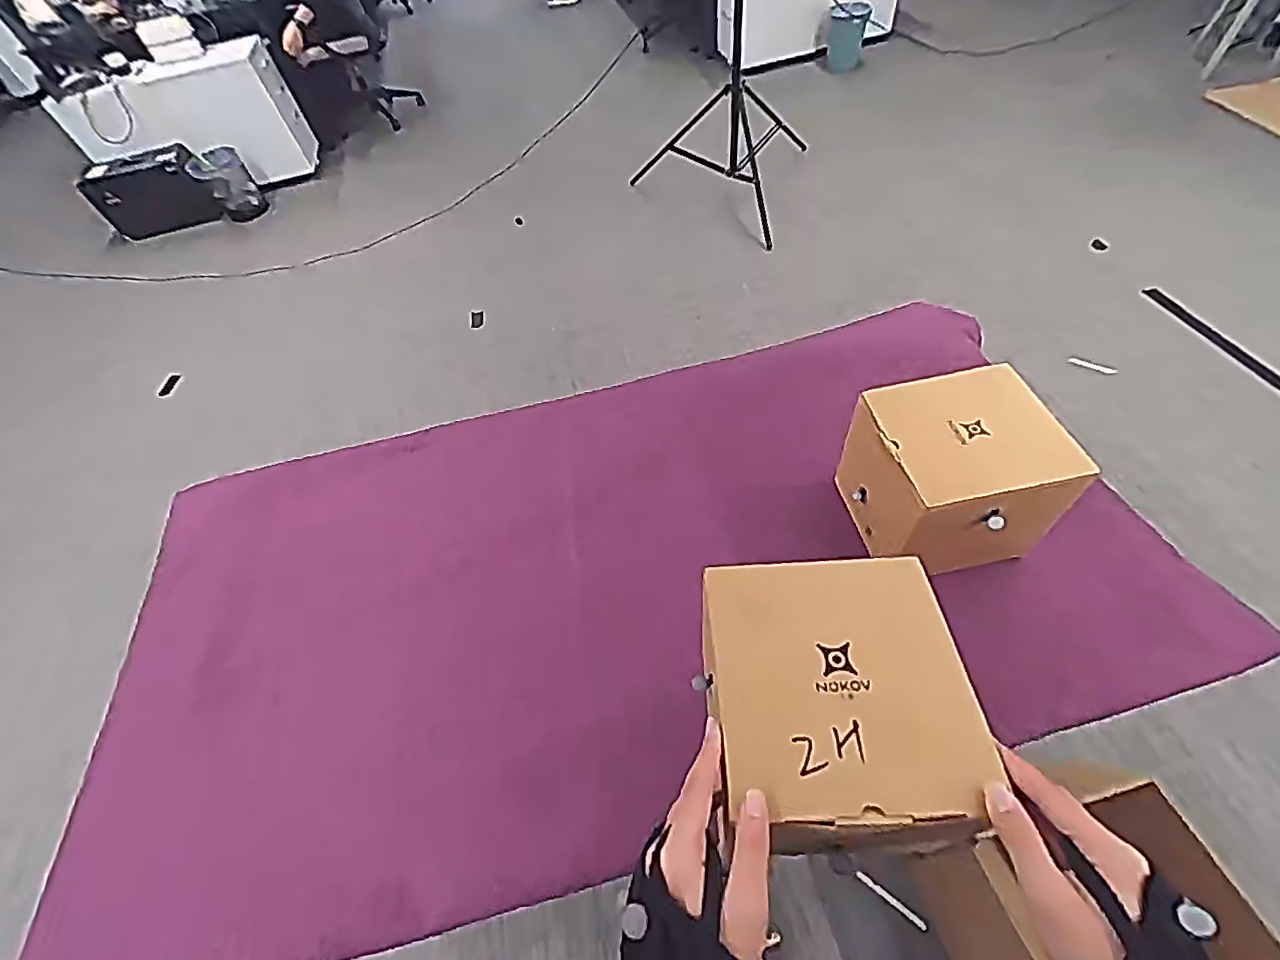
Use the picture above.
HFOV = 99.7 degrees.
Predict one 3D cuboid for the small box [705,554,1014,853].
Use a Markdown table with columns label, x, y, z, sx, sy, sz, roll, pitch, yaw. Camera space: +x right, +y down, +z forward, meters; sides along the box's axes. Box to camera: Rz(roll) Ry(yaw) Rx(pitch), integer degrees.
| label | x | y | z | sx | sy | sz | roll | pitch | yaw |
| --- | --- | --- | --- | --- | --- | --- | --- | --- | --- |
| small box | 0.140 | 0.179 | 0.428 | 0.168 | 0.176 | 0.179 | -3 | 49 | 4 |

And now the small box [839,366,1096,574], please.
| label | x | y | z | sx | sy | sz | roll | pitch | yaw |
| --- | --- | --- | --- | --- | --- | --- | --- | --- | --- |
| small box | 0.358 | -0.003 | 0.635 | 0.179 | 0.176 | 0.168 | -12 | 53 | 1 |
